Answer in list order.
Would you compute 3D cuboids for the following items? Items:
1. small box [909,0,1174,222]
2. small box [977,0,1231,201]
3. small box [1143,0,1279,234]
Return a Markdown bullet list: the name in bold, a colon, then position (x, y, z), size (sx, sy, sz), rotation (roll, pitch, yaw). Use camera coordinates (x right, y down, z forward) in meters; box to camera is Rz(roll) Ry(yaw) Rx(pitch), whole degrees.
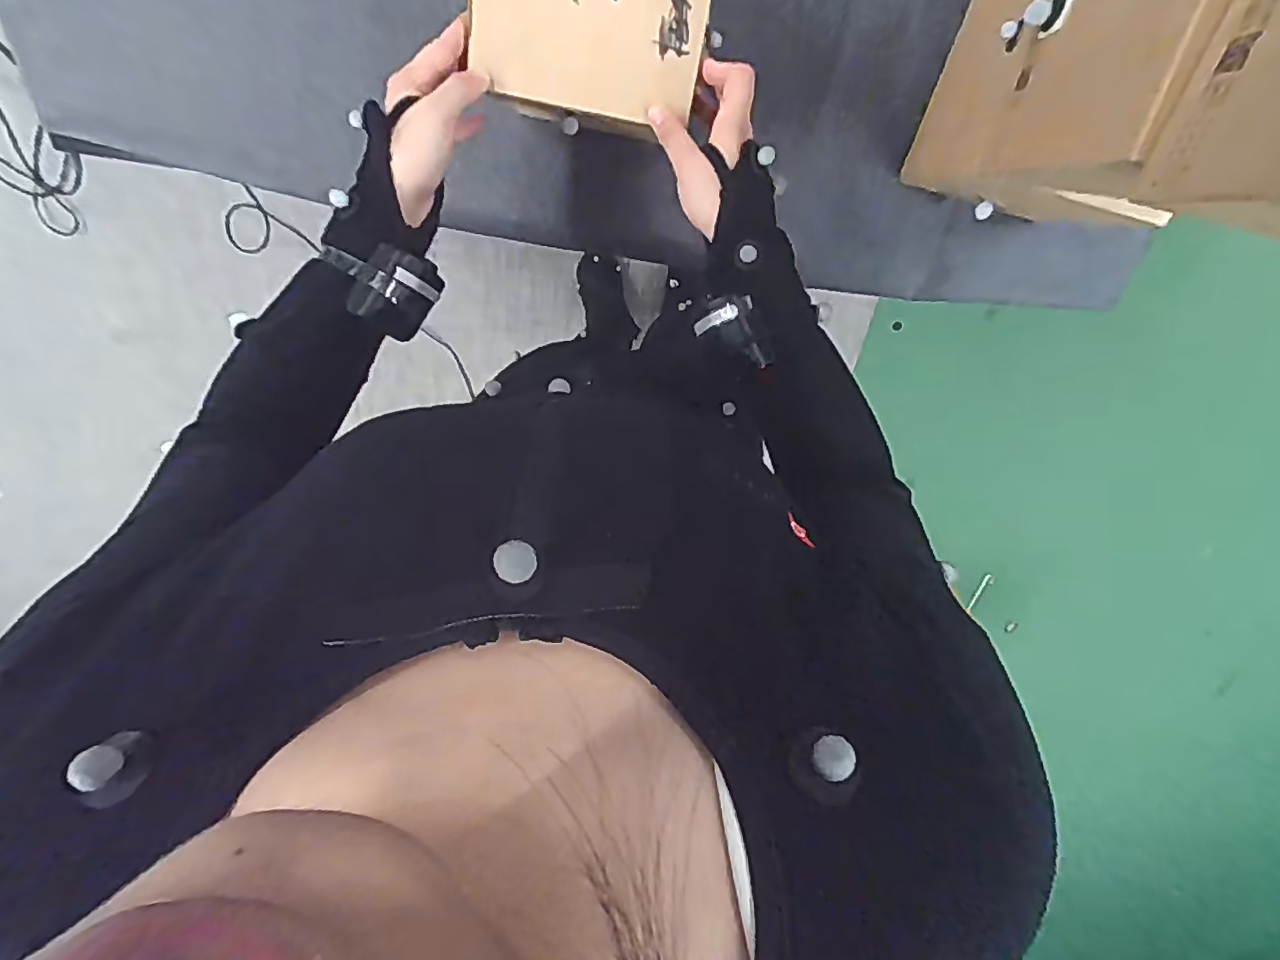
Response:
- **small box**: position (0.365, -0.337, 0.459), size (0.168, 0.176, 0.179), rotation (14, 118, -4)
- **small box**: position (0.348, -0.263, 0.315), size (0.179, 0.176, 0.168), rotation (7, 116, 0)
- **small box**: position (0.351, -0.167, 0.179), size (0.179, 0.176, 0.168), rotation (11, 116, -3)
